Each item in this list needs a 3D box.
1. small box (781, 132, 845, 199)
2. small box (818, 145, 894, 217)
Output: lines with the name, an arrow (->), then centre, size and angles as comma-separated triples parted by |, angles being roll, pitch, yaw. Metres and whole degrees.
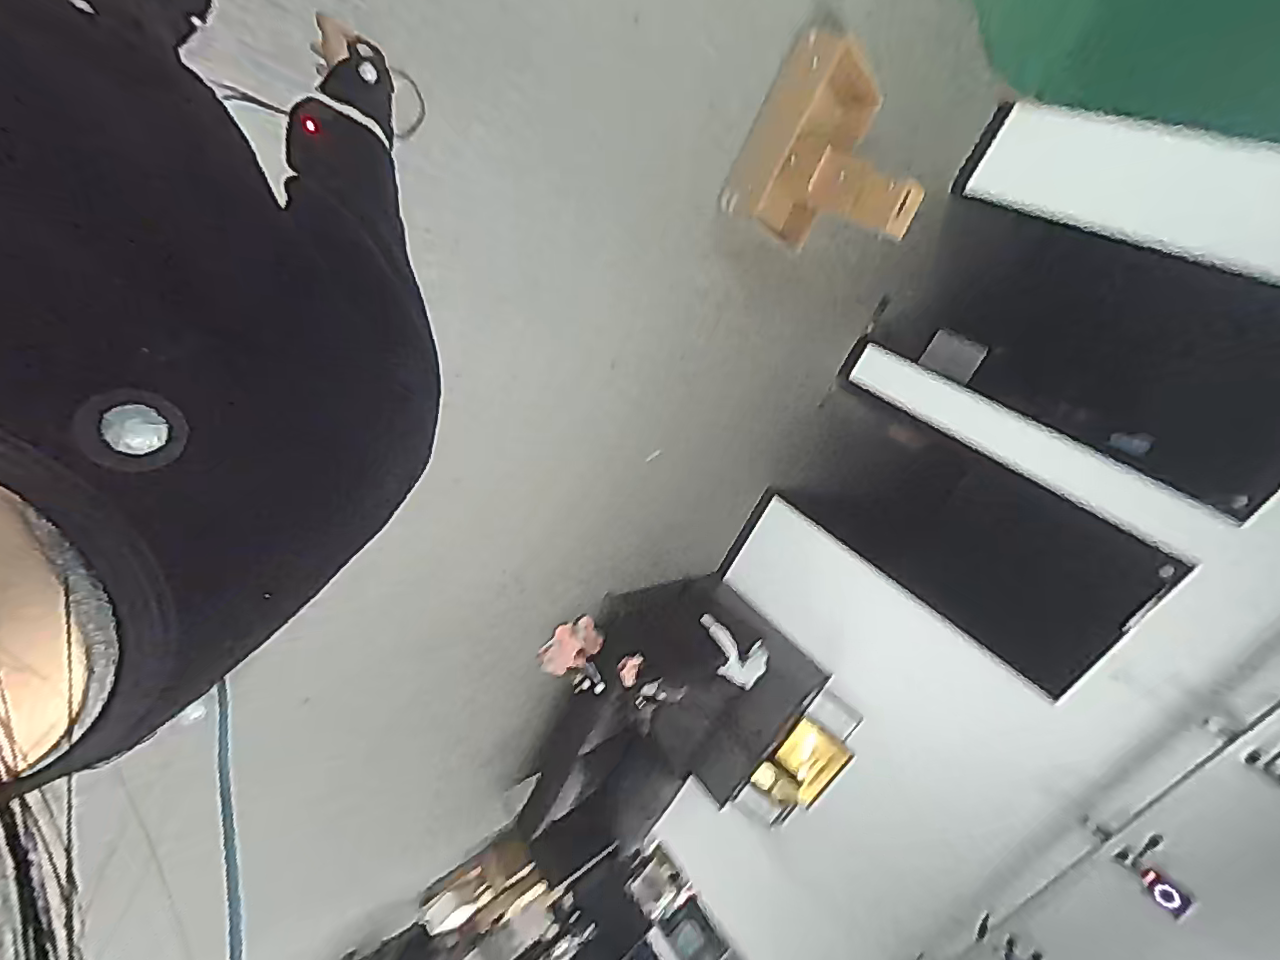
small box -> 0.674, -1.193, 2.053 | 0.179, 0.176, 0.168 | 2, 120, -49
small box -> 0.785, -1.097, 1.980 | 0.168, 0.176, 0.179 | -4, 125, -47
